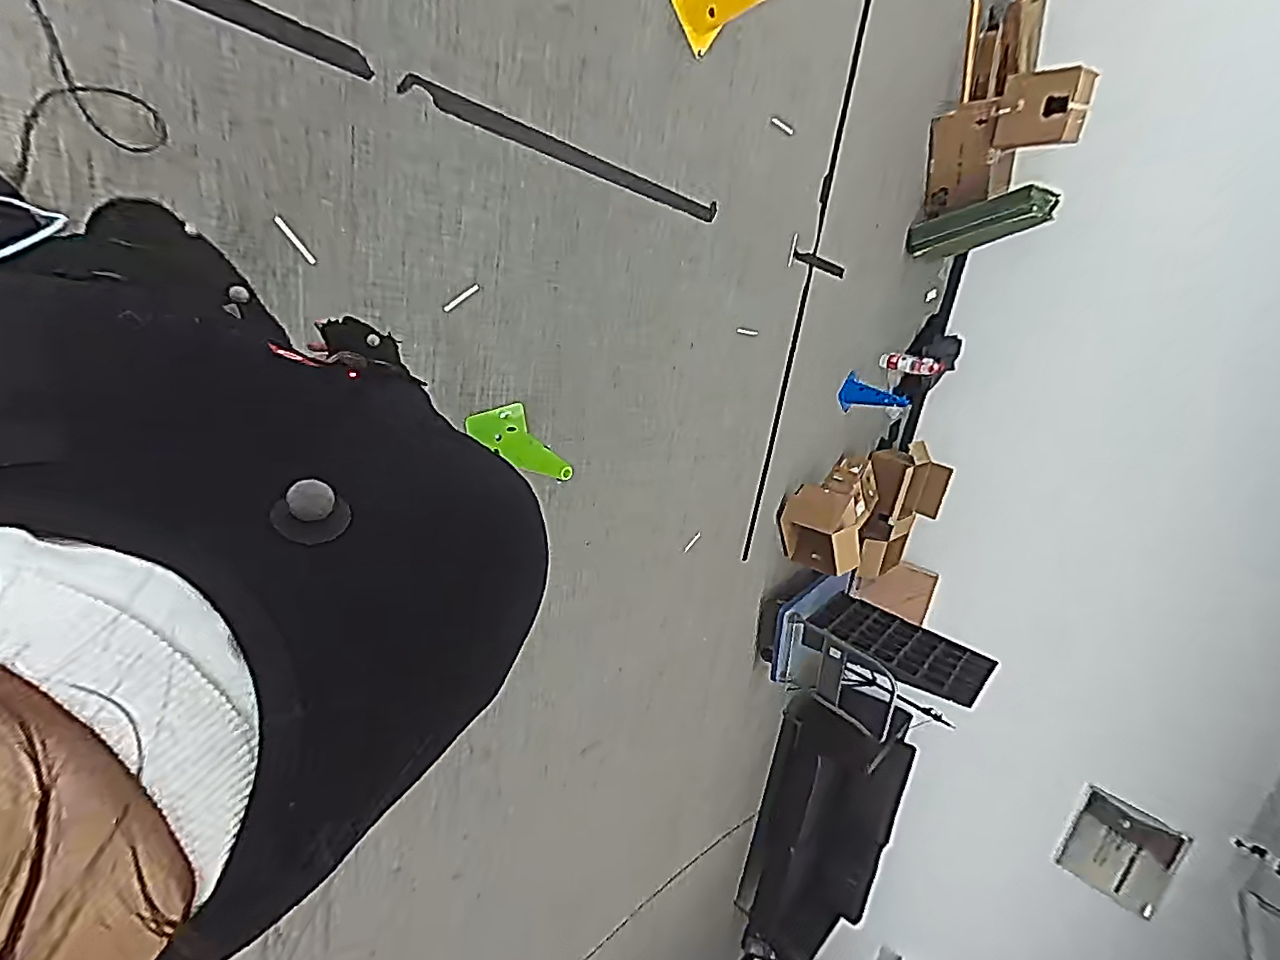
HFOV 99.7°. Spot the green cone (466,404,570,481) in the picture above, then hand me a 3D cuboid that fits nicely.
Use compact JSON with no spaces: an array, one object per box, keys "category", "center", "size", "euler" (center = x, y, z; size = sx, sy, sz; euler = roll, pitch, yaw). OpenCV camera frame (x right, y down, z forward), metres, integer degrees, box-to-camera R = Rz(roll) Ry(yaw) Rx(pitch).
[{"category":"green cone","center":[-0.319,-0.075,1.564],"size":[0.202,0.368,0.200],"euler":[-25,124,-36]}]
